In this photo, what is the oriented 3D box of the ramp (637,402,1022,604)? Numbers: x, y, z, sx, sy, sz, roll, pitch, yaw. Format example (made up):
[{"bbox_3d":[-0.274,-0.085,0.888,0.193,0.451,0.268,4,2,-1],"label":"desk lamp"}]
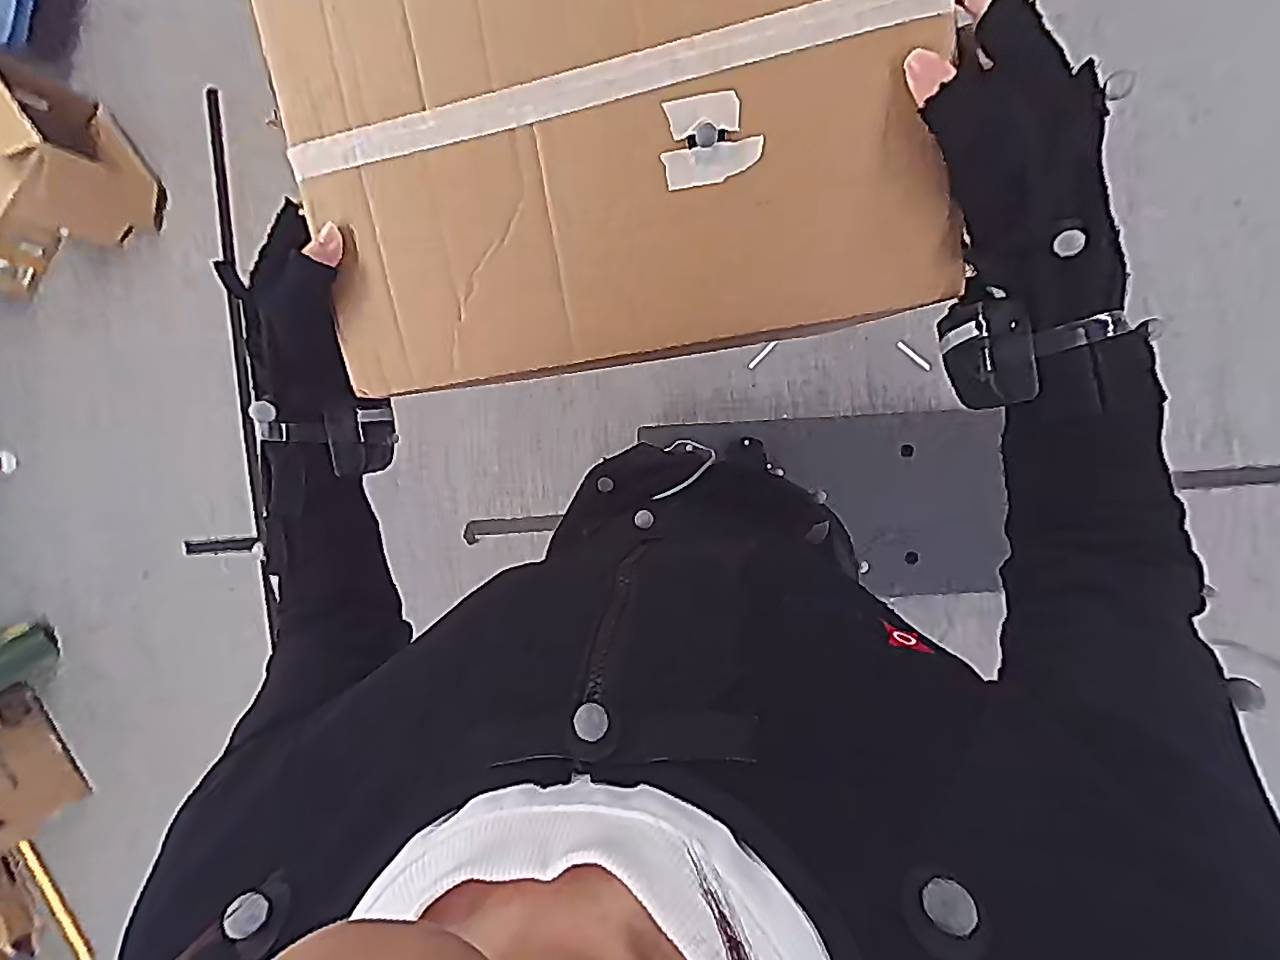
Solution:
[{"bbox_3d":[0.502,0.061,1.443,0.991,0.206,0.509,-5,90,11],"label":"ramp"}]

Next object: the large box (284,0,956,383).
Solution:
[{"bbox_3d":[-0.005,-0.276,0.481,0.408,0.320,0.320,-7,102,9],"label":"large box"}]
